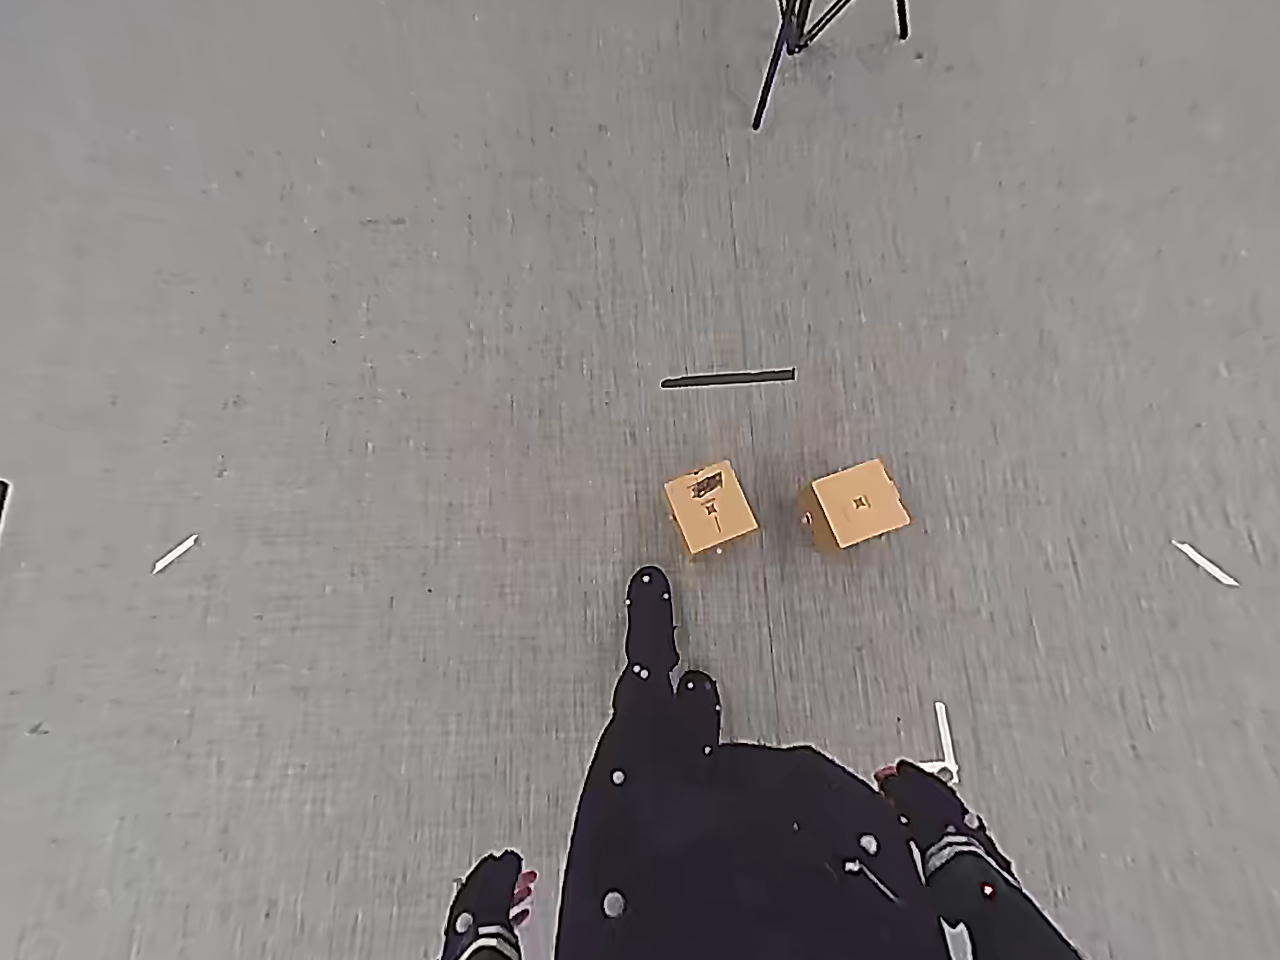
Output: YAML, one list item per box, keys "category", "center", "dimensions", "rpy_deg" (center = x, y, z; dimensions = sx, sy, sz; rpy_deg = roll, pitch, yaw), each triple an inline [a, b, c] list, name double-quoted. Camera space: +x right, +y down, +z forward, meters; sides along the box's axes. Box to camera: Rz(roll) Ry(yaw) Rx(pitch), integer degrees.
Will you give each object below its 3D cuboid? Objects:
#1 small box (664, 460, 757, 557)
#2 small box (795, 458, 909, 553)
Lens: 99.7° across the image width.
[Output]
- category: "small box"
  center: [0.161, 0.075, 1.313]
  dimensions: [0.168, 0.176, 0.179]
  rpy_deg: [-21, 78, -3]
- category: "small box"
  center: [0.501, 0.067, 1.306]
  dimensions: [0.179, 0.176, 0.168]
  rpy_deg: [-21, 77, -2]
